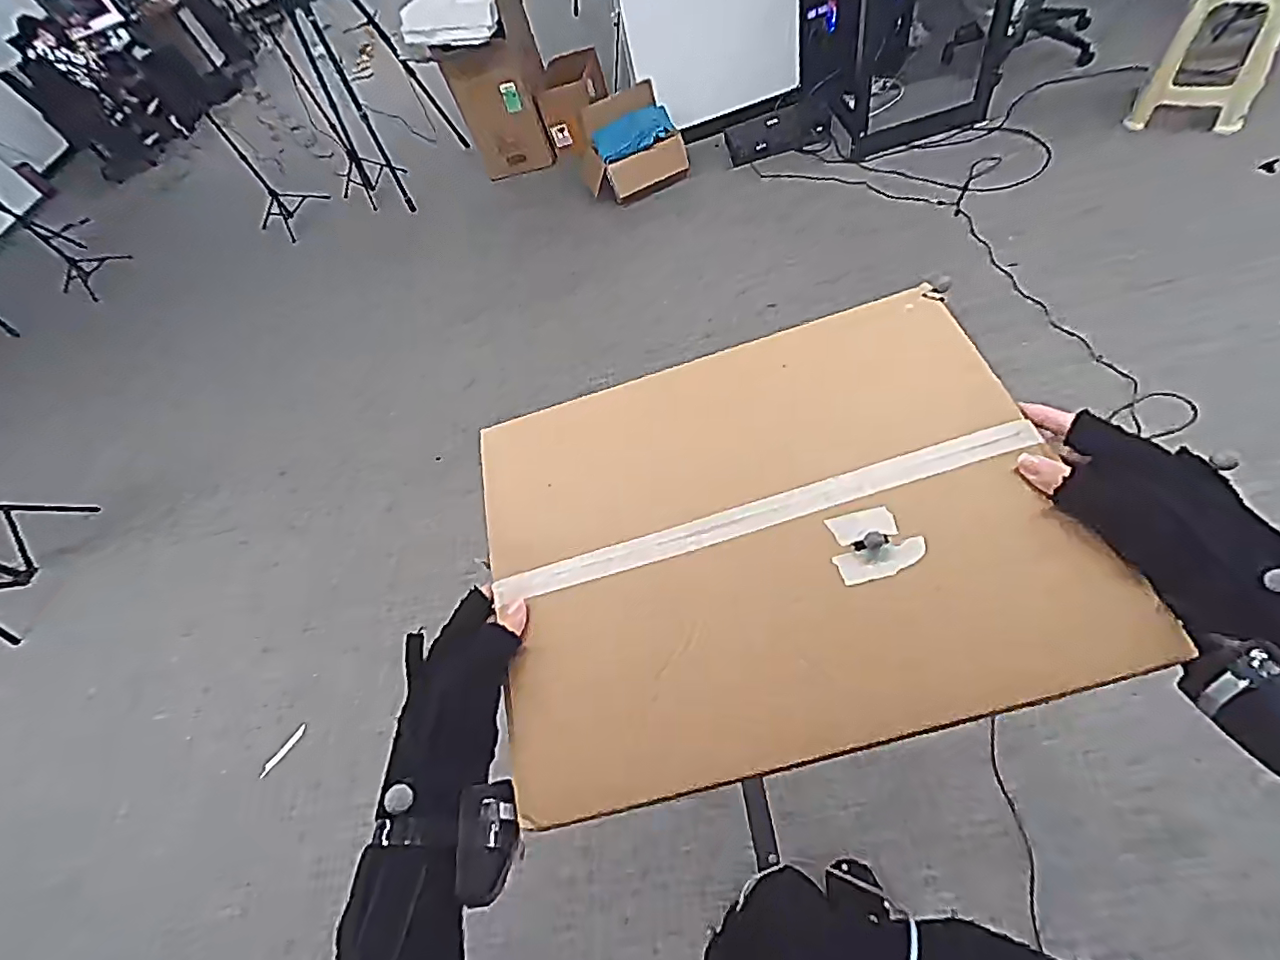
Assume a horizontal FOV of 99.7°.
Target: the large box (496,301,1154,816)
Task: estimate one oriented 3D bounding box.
[{"bbox_3d":[0.118,0.098,0.538,0.408,0.320,0.320,-17,61,4],"label":"large box"}]
